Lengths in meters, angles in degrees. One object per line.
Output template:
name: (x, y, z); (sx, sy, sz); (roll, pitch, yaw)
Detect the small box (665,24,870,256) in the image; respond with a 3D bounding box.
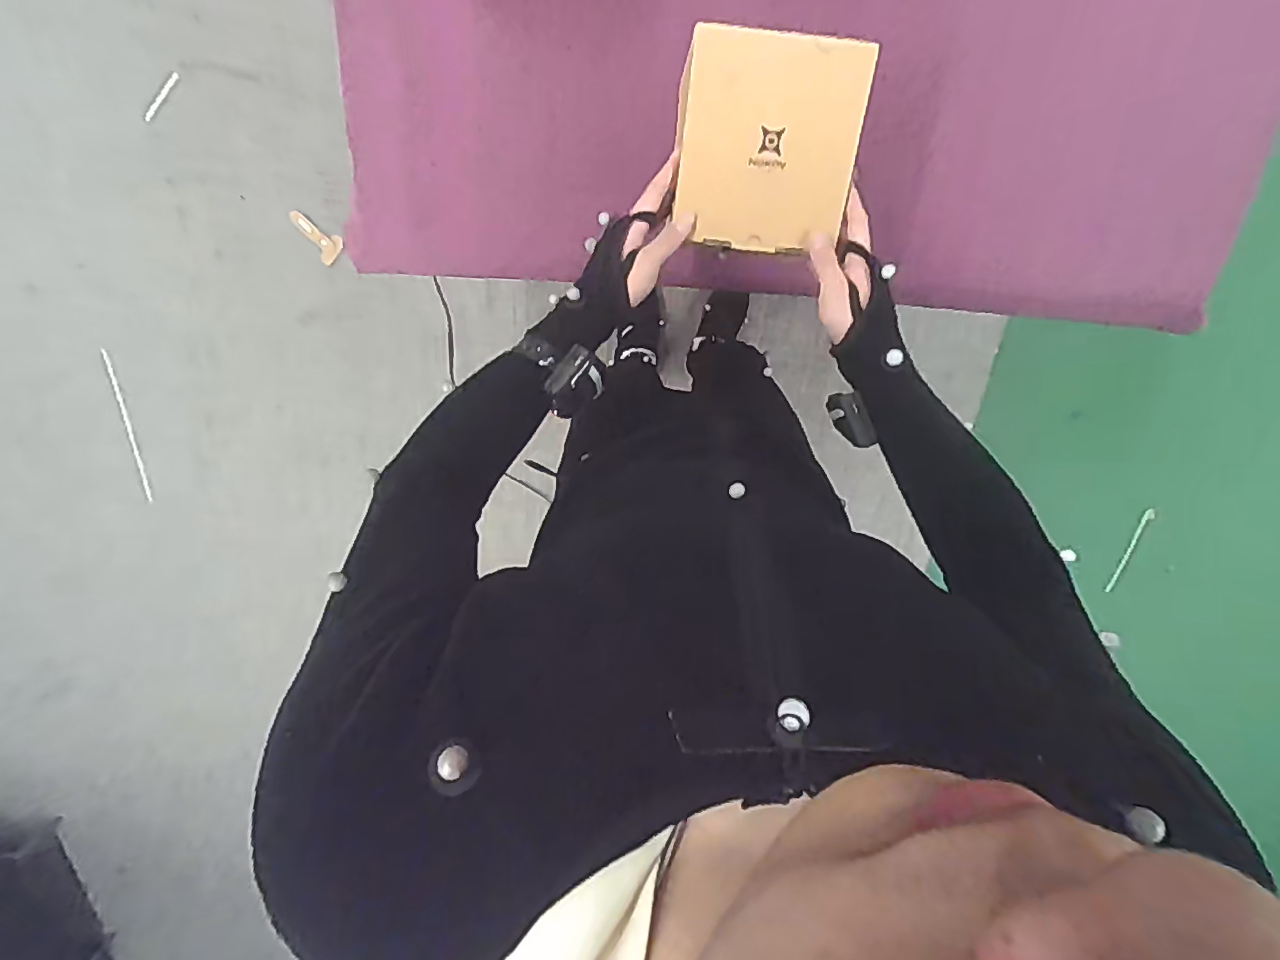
small box: (0.118, -0.345, 0.584); (0.168, 0.176, 0.179); (6, 113, -1)

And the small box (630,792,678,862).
small box: (0.053, 1.367, 2.140); (0.168, 0.176, 0.179); (7, 113, -2)
